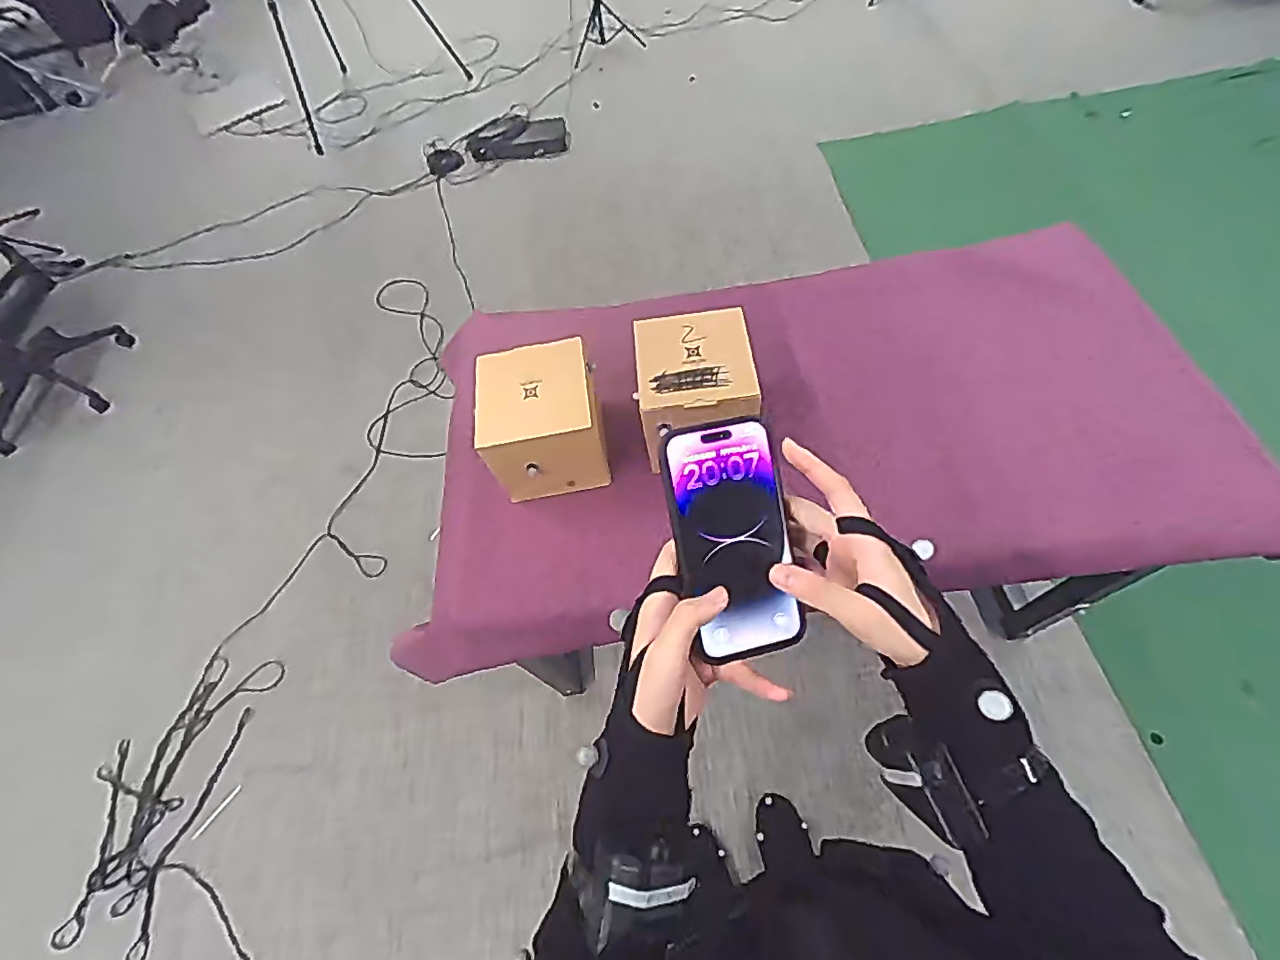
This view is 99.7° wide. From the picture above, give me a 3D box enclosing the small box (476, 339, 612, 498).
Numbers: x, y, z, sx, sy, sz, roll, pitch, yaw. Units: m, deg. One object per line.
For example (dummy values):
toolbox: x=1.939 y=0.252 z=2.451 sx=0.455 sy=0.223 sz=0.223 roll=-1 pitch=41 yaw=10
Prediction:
small box: x=-0.144 y=-0.086 z=0.845 sx=0.168 sy=0.176 sz=0.179 roll=-11 pitch=58 yaw=2
